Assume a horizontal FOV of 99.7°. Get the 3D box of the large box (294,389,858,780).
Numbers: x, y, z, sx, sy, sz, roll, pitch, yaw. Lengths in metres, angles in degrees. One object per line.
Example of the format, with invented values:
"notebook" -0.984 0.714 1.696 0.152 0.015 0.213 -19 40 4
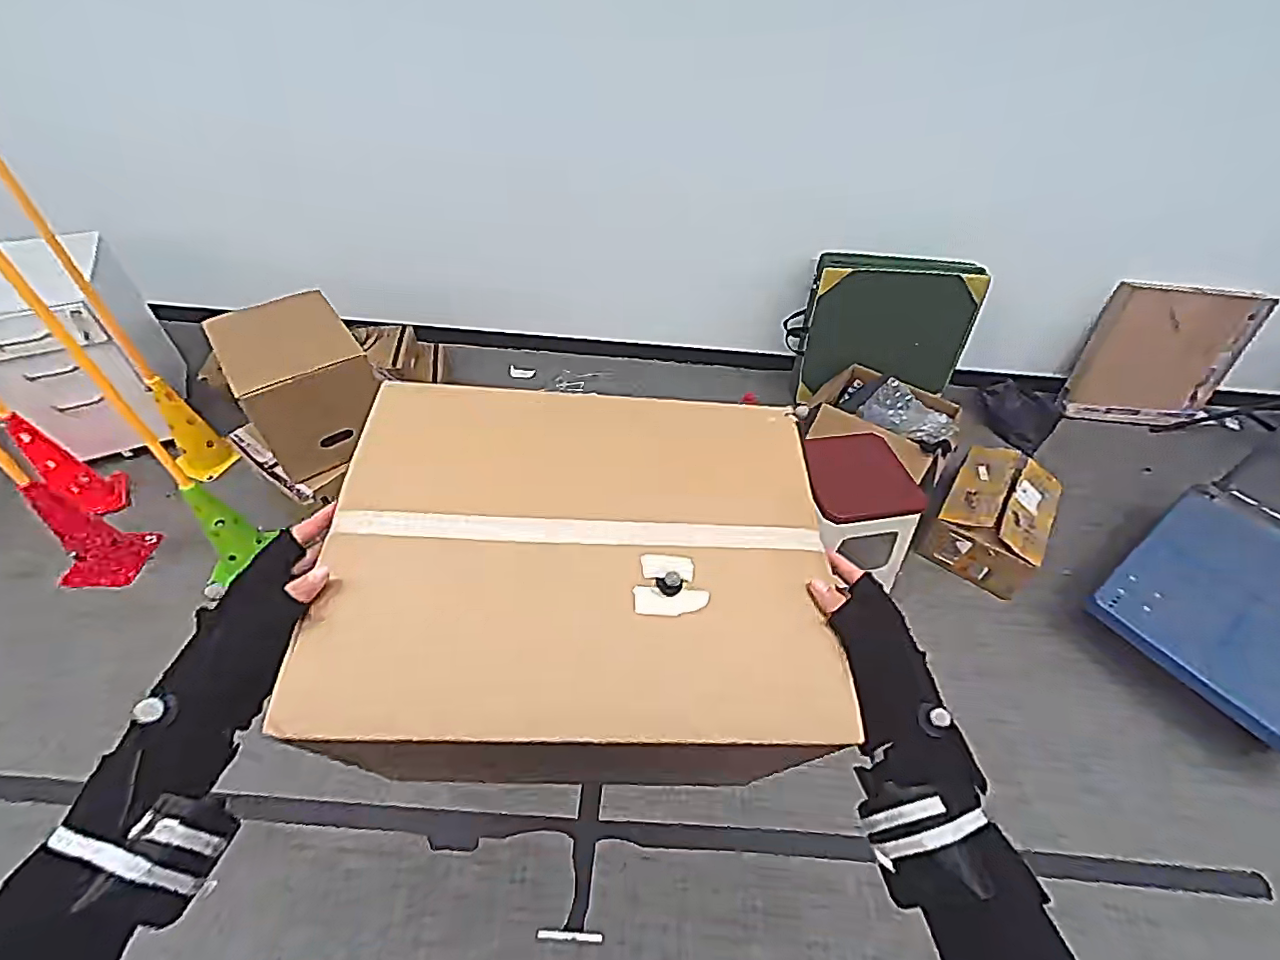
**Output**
"large box" -0.055 0.130 0.581 0.408 0.320 0.320 4 56 -6
